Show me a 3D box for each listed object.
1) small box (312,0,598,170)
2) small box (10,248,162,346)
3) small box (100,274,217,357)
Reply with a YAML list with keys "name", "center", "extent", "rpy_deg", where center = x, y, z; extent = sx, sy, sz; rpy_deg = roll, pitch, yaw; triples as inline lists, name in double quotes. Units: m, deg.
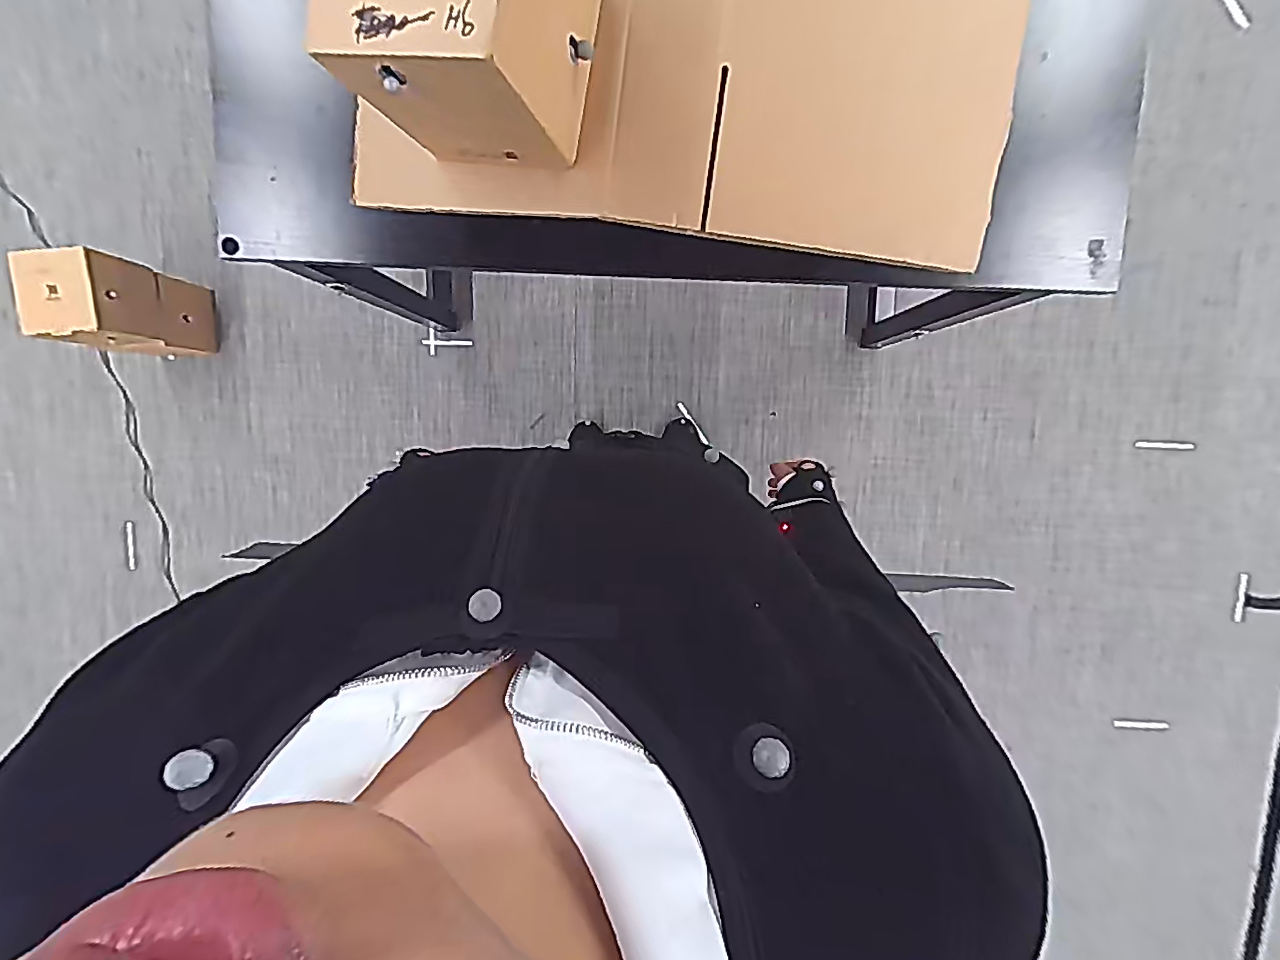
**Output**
- name: "small box"
  center: [-0.146, -0.410, 0.478]
  extent: [0.168, 0.176, 0.179]
  rpy_deg: [12, 96, 13]
- name: "small box"
  center: [-1.235, -0.404, 1.221]
  extent: [0.168, 0.176, 0.179]
  rpy_deg: [-5, 95, 0]
- name: "small box"
  center: [-1.232, -0.415, 1.384]
  extent: [0.168, 0.176, 0.179]
  rpy_deg: [-2, 97, 1]
